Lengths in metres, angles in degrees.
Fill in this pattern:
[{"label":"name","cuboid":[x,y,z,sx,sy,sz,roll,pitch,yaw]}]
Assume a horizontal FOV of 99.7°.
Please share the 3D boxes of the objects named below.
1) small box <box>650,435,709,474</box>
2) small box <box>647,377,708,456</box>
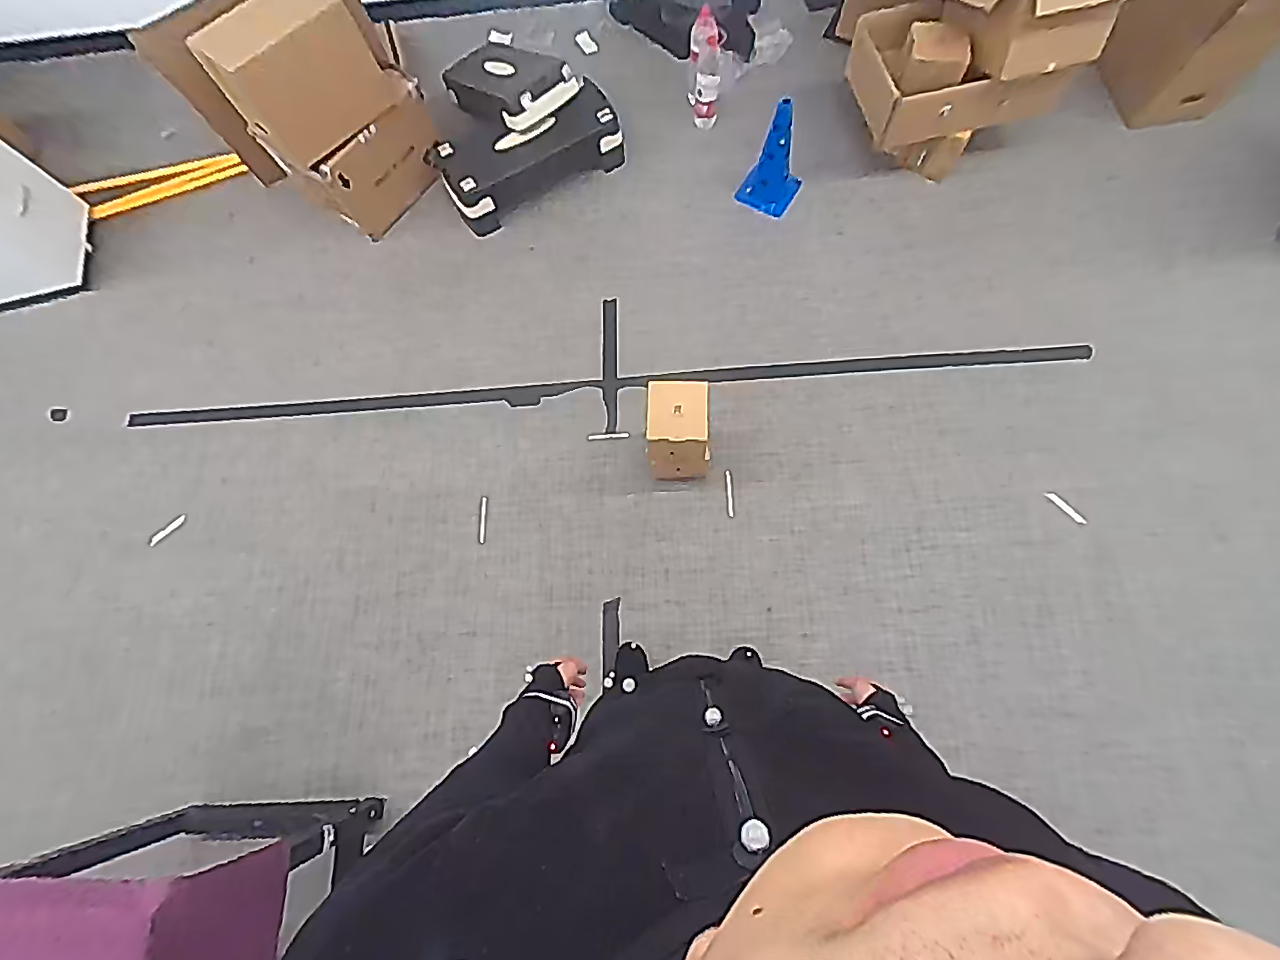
[{"label":"small box","cuboid":[0.120,-0.122,1.704,0.179,0.176,0.168,-4,74,3]},{"label":"small box","cuboid":[0.106,-0.178,1.551,0.168,0.176,0.179,1,75,4]}]
